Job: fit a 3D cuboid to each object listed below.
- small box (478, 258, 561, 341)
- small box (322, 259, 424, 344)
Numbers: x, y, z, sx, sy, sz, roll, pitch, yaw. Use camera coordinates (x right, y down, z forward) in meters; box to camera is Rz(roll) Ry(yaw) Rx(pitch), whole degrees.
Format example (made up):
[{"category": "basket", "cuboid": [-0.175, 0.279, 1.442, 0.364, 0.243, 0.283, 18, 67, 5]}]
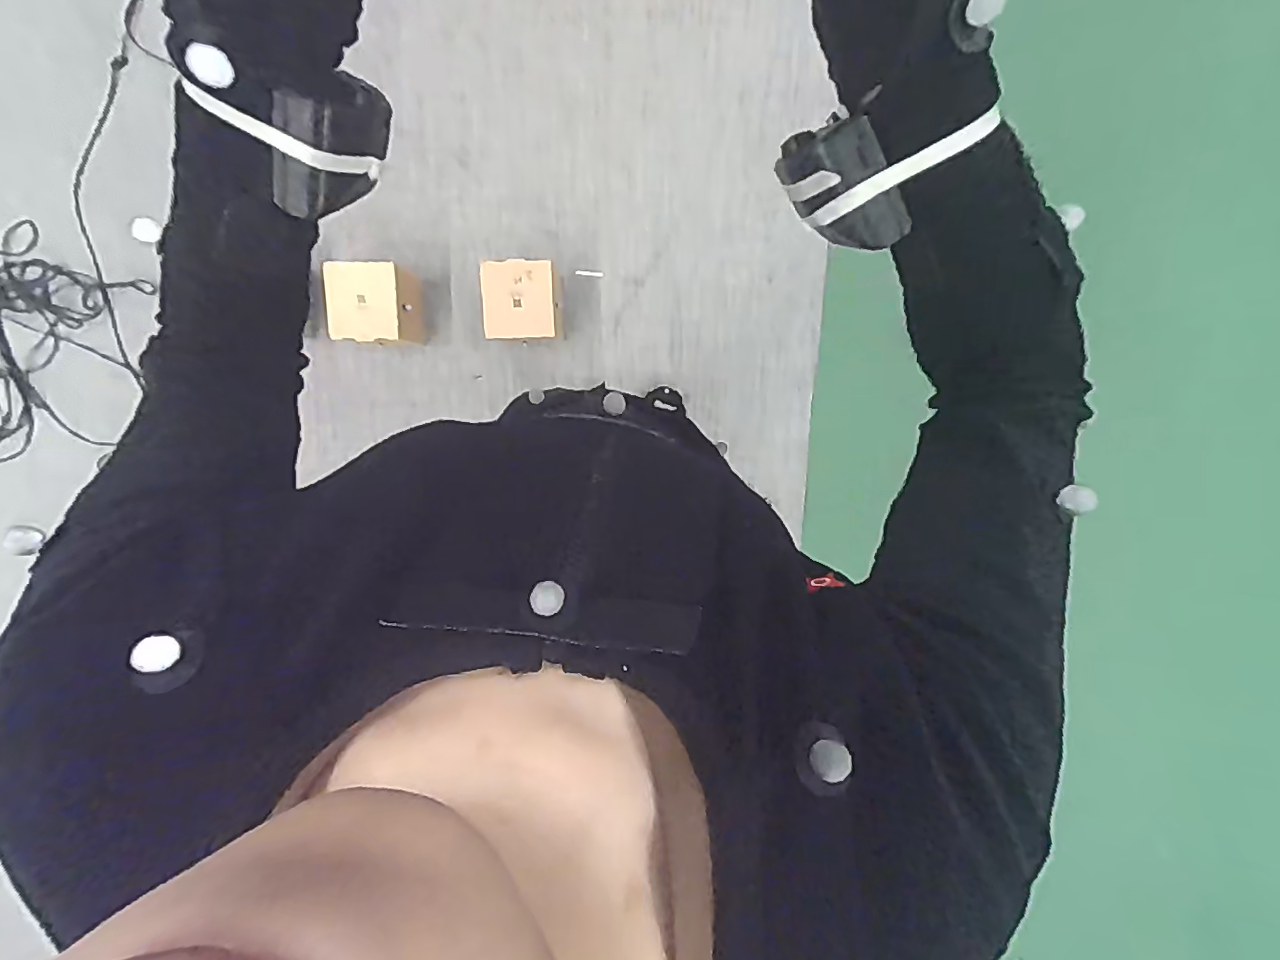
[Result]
[{"category": "small box", "cuboid": [-0.288, -0.435, 1.329, 0.168, 0.176, 0.179, -2, 100, -1]}, {"category": "small box", "cuboid": [-0.648, -0.432, 1.329, 0.168, 0.176, 0.179, 0, 100, 0]}]
